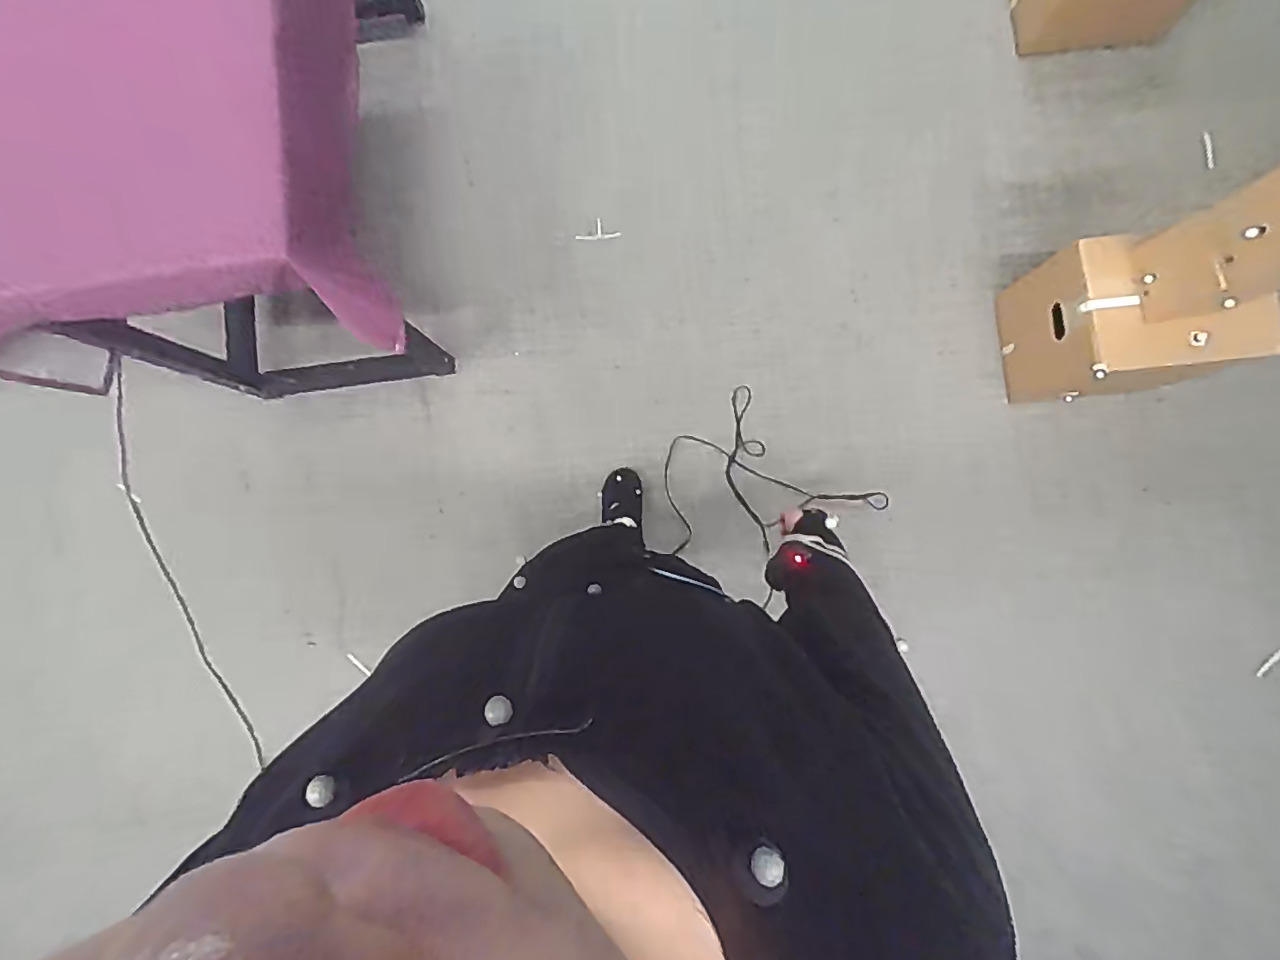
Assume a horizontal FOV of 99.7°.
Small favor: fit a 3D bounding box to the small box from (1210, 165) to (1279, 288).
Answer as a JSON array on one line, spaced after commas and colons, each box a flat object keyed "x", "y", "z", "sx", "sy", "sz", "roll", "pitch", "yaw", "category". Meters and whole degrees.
[{"x": 1.173, "y": -0.461, "z": 0.949, "sx": 0.179, "sy": 0.176, "sz": 0.168, "roll": -13, "pitch": 84, "yaw": 2, "category": "small box"}]

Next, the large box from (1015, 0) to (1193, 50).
[{"x": 1.279, "y": -1.421, "z": 1.426, "sx": 0.408, "sy": 0.320, "sz": 0.320, "roll": -5, "pitch": 86, "yaw": 1, "category": "large box"}]
